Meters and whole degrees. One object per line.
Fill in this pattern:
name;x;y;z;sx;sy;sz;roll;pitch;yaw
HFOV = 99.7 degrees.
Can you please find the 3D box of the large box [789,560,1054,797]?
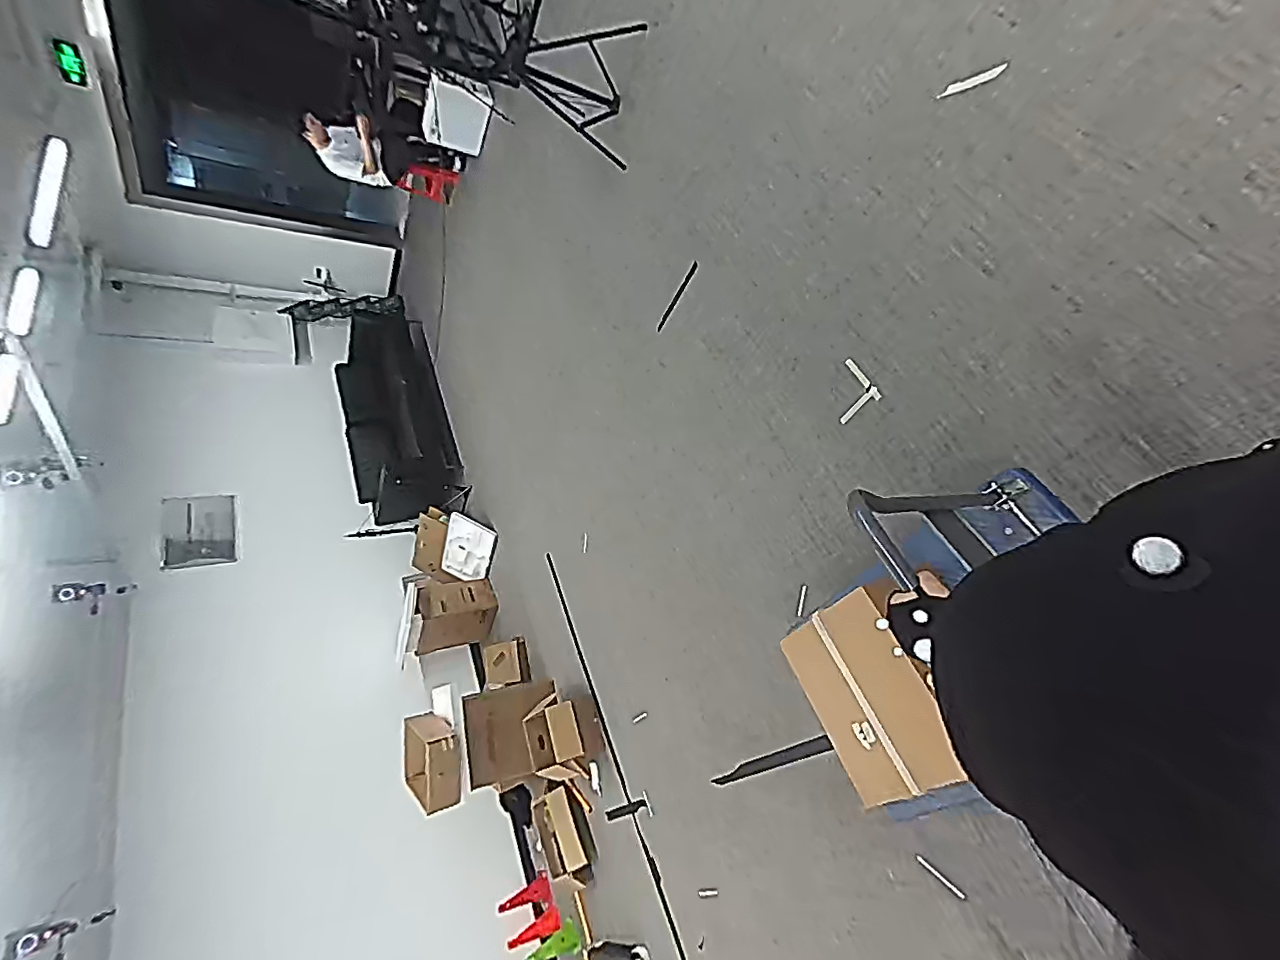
large box;0.644;0.452;1.282;0.320;0.320;0.408;-56;49;43
